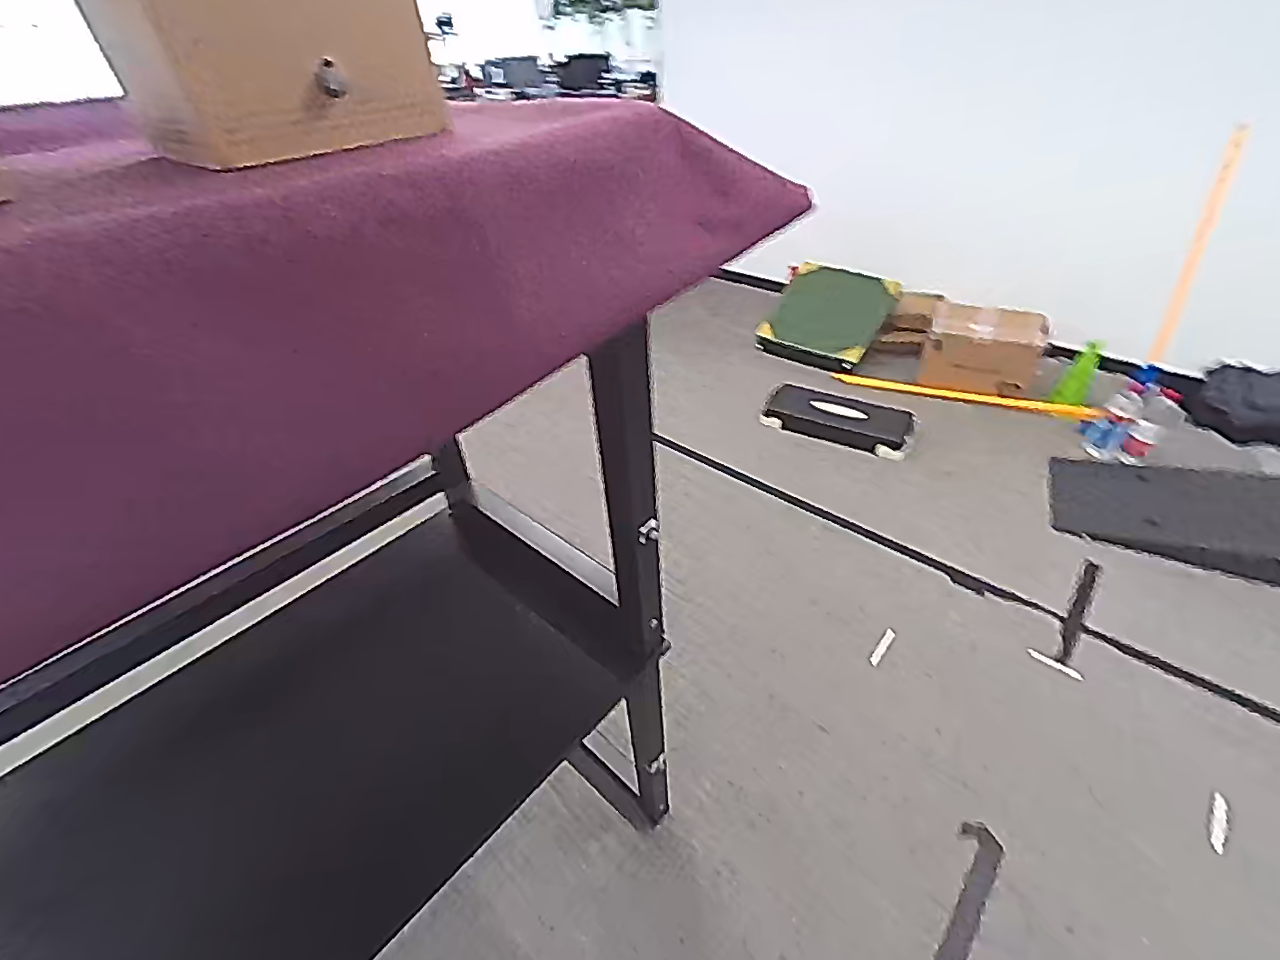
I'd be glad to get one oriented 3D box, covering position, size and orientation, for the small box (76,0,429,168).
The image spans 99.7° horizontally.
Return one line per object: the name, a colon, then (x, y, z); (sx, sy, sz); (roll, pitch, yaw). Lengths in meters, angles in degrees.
small box: (-0.273, -0.334, 0.380); (0.168, 0.176, 0.179); (25, 48, 32)
